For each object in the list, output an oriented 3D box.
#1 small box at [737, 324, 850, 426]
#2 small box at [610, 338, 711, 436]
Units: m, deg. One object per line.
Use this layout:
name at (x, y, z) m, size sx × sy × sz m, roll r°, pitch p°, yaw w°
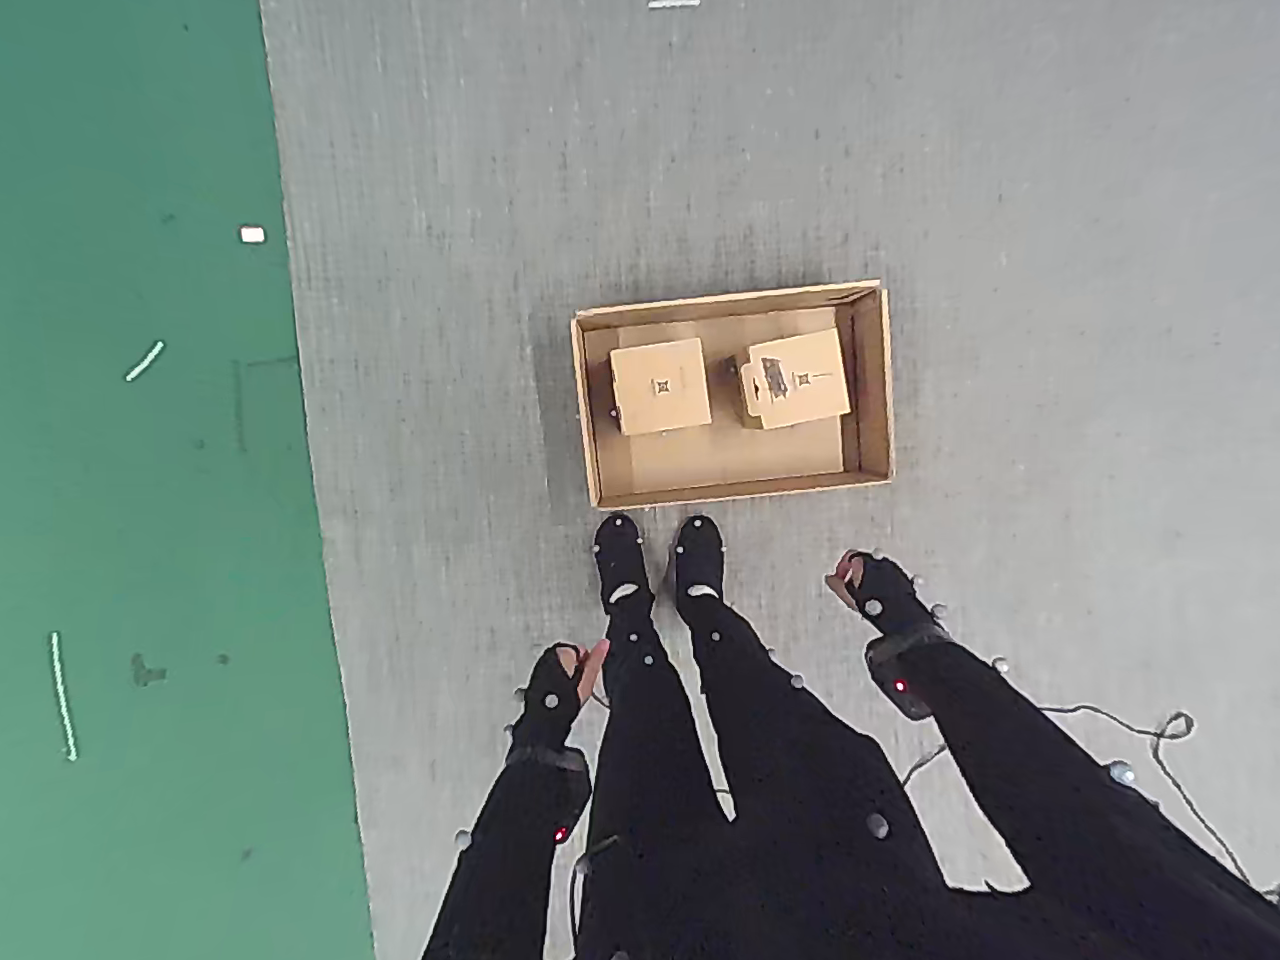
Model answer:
small box at (0.304, -0.207, 1.109) m, size 0.179 × 0.176 × 0.168 m, roll -13°, pitch 97°, yaw 1°
small box at (0.039, -0.186, 1.108) m, size 0.179 × 0.176 × 0.168 m, roll -10°, pitch 98°, yaw -1°
